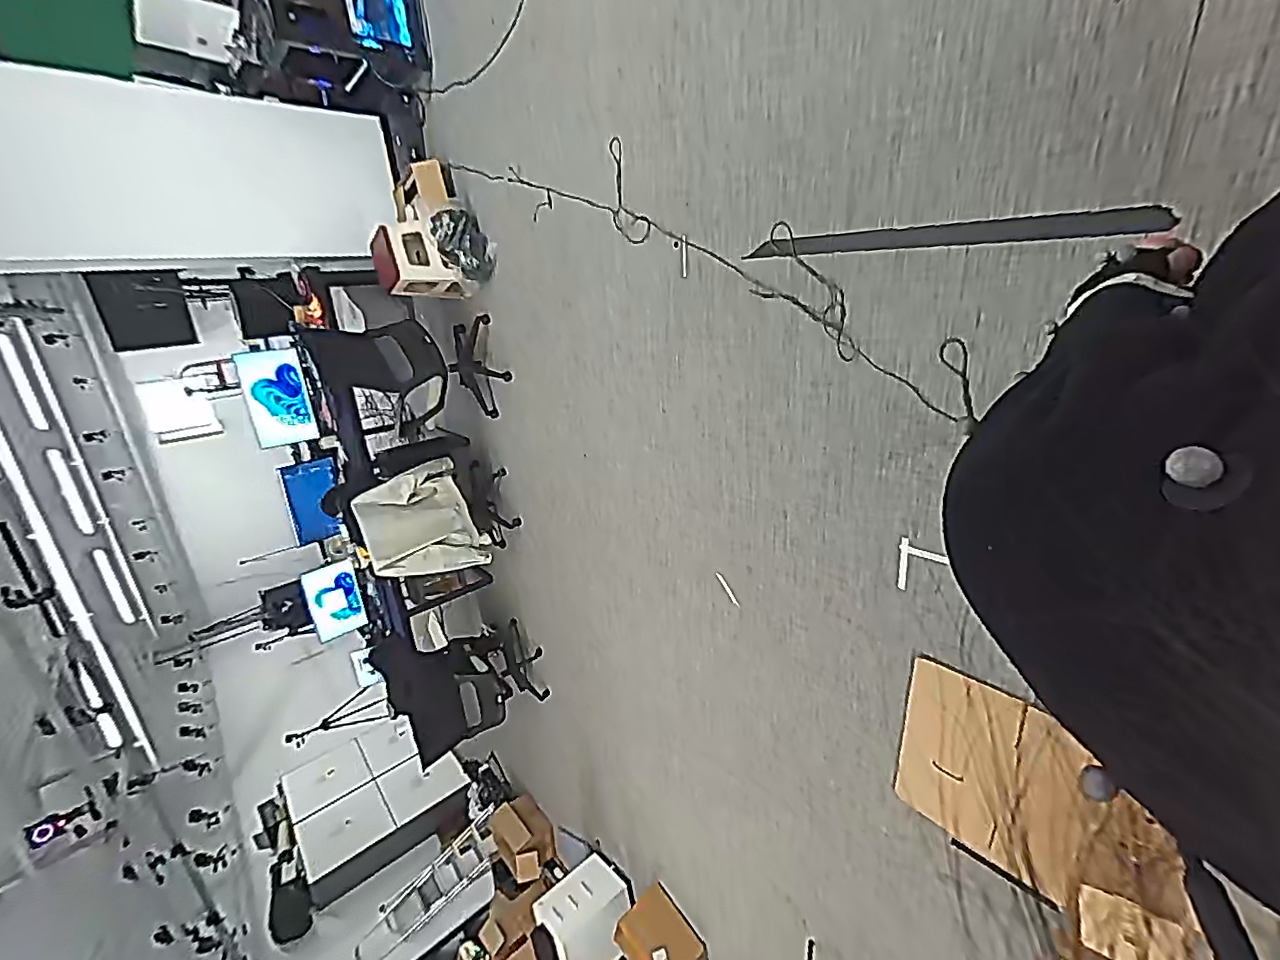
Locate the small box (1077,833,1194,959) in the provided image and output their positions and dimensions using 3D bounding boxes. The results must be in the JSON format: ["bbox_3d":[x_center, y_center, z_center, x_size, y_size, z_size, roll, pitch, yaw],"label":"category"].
[{"bbox_3d":[1.064,0.919,1.159,0.168,0.176,0.179,0,106,49],"label":"small box"}]

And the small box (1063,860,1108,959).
[{"bbox_3d":[1.195,1.127,1.366,0.168,0.176,0.179,6,110,49],"label":"small box"}]

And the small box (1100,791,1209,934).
[{"bbox_3d":[1.191,0.869,1.252,0.168,0.176,0.179,0,105,51],"label":"small box"}]
